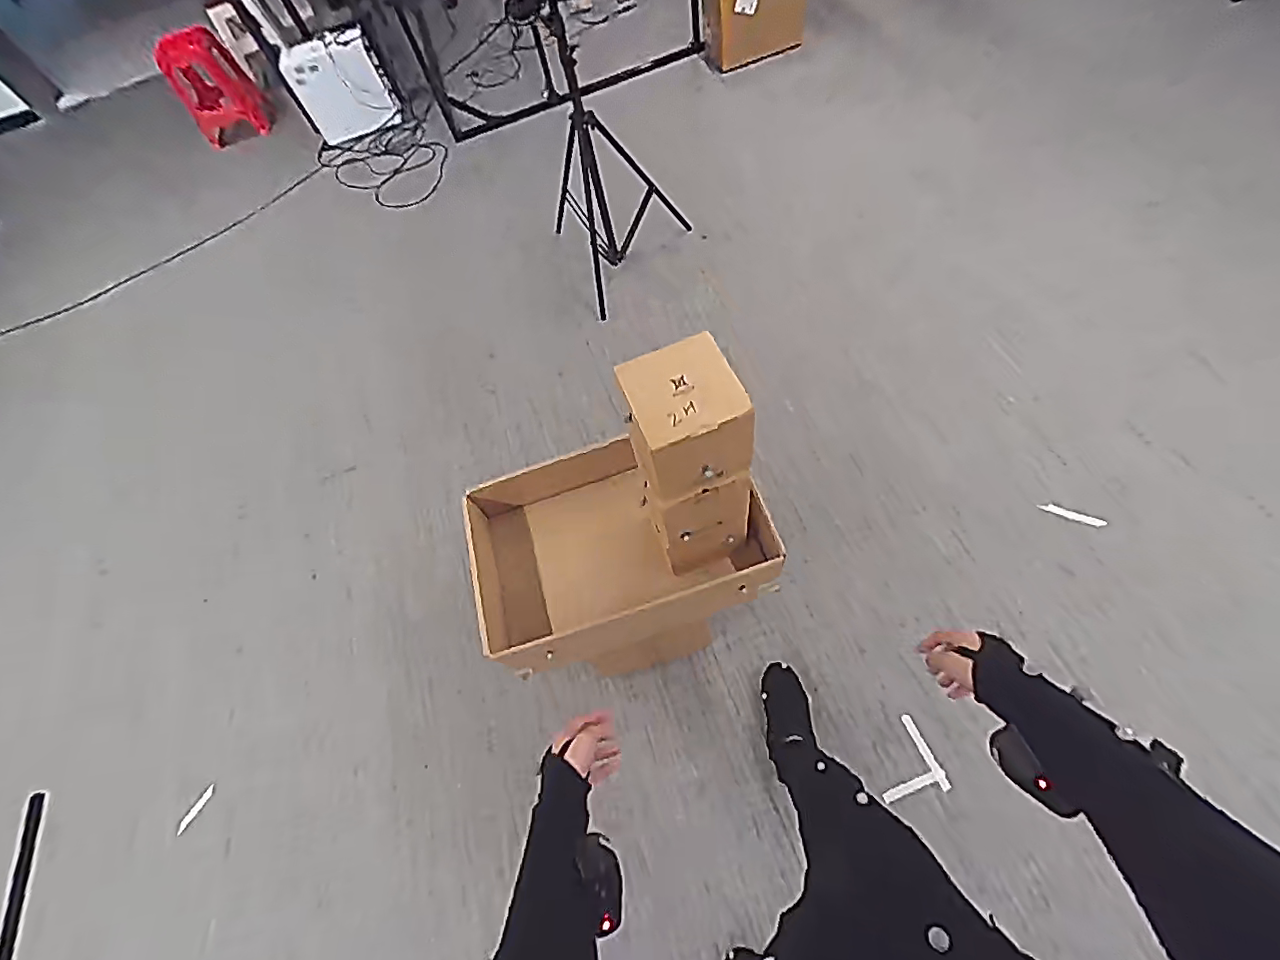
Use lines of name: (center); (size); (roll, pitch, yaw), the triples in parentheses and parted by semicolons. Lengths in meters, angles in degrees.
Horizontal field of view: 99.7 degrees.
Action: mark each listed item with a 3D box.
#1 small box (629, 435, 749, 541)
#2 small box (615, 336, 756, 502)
small box: (0.095, -0.002, 1.013); (0.168, 0.176, 0.179); (-21, 60, -3)
small box: (0.074, -0.093, 0.876); (0.168, 0.176, 0.179); (-22, 61, -2)
